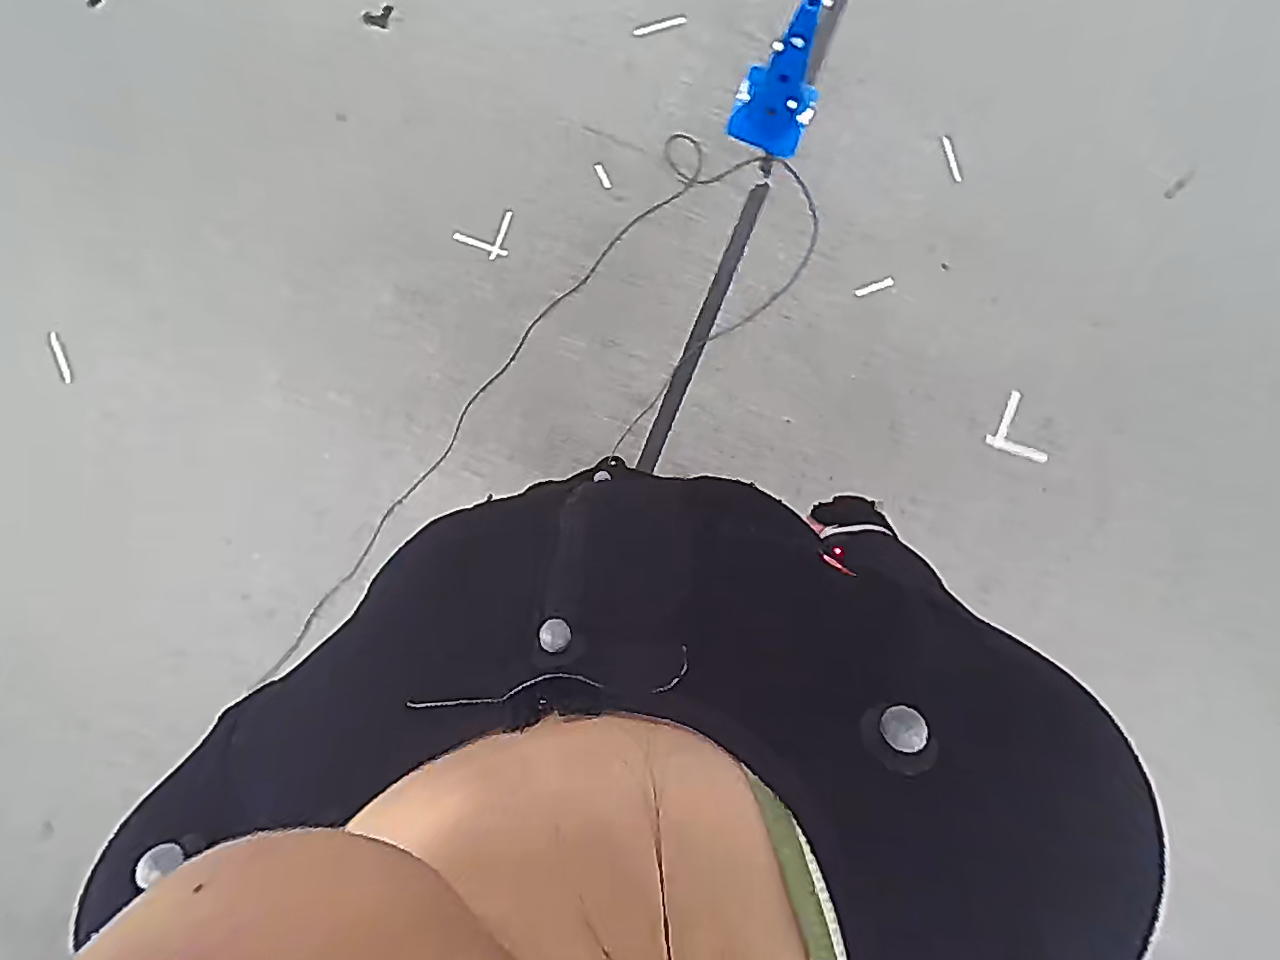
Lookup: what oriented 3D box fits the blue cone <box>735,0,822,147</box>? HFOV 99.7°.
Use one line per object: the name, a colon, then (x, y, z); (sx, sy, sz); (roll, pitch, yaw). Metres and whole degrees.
blue cone: (0.356, -0.979, 1.257); (0.193, 0.380, 0.192); (21, 92, 0)
